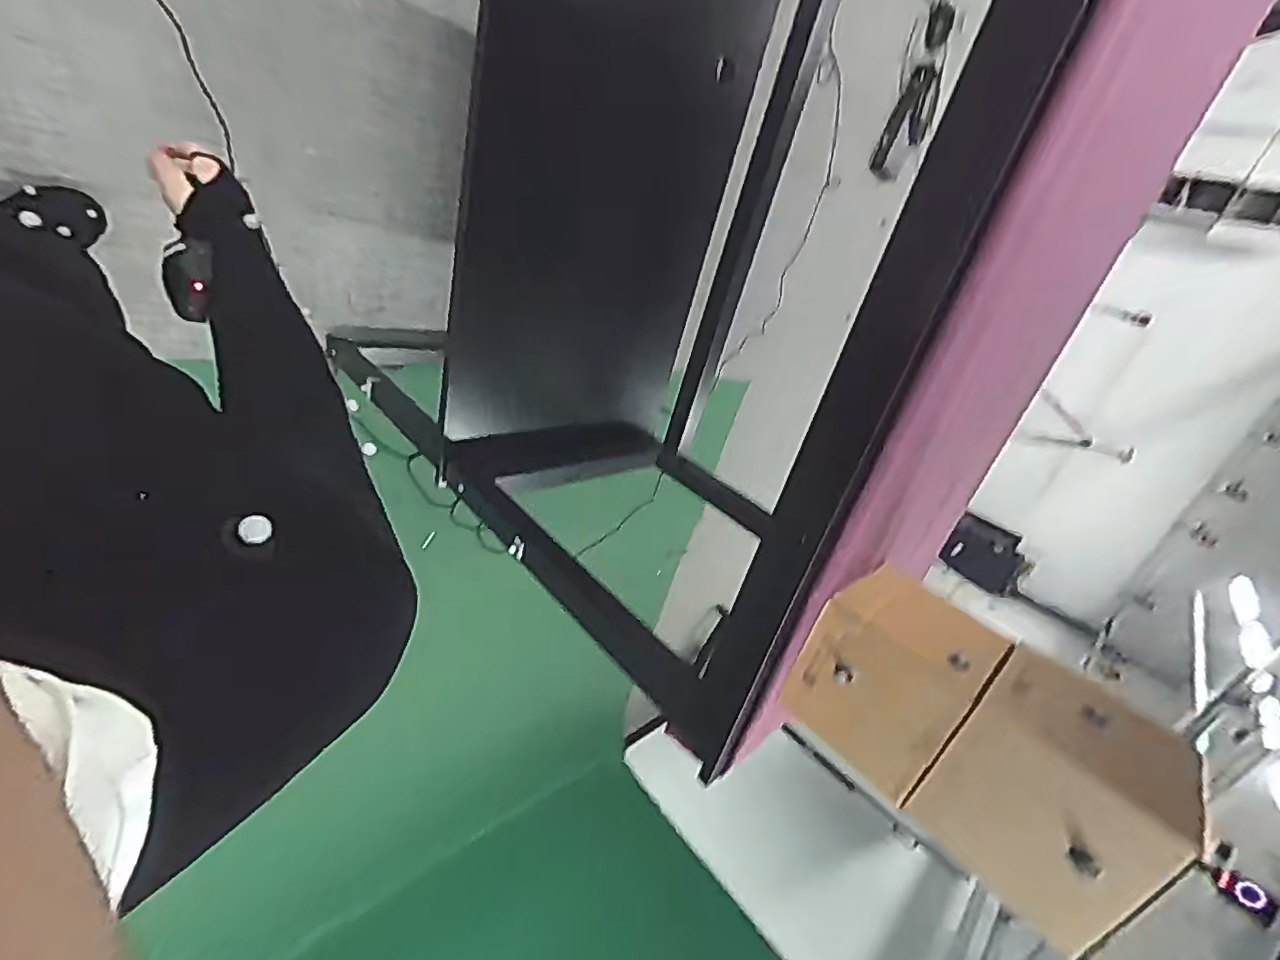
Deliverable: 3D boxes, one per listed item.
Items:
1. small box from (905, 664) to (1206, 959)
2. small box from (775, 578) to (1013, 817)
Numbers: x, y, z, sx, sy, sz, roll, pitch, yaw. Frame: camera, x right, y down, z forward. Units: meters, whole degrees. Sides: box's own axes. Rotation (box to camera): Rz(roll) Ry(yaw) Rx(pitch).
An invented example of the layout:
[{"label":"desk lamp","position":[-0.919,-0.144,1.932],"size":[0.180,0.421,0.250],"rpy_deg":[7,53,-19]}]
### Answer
[{"label":"small box","position":[0.401,0.312,0.540],"size":[0.168,0.176,0.179],"rpy_deg":[-9,124,-44]},{"label":"small box","position":[0.296,0.239,0.645],"size":[0.179,0.176,0.168],"rpy_deg":[-9,124,-44]}]
